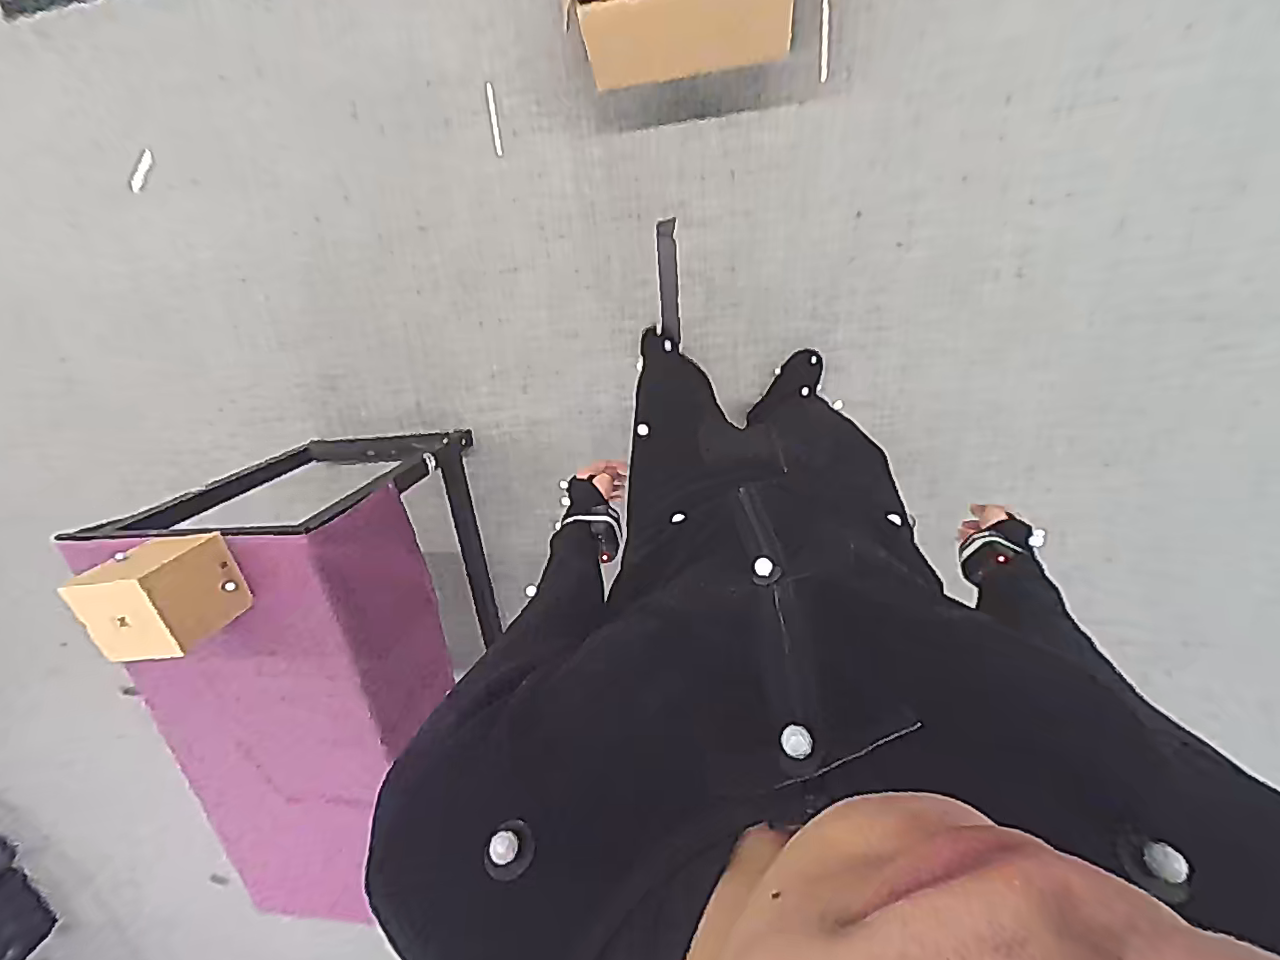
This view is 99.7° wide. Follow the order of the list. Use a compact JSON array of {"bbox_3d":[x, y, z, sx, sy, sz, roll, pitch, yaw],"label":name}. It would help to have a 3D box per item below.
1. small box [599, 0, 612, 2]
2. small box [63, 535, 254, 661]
[{"bbox_3d":[-0.037,-1.008,0.976,0.168,0.176,0.179,-4,112,10],"label":"small box"},{"bbox_3d":[-0.888,0.218,1.016,0.179,0.176,0.168,-6,112,12],"label":"small box"}]
